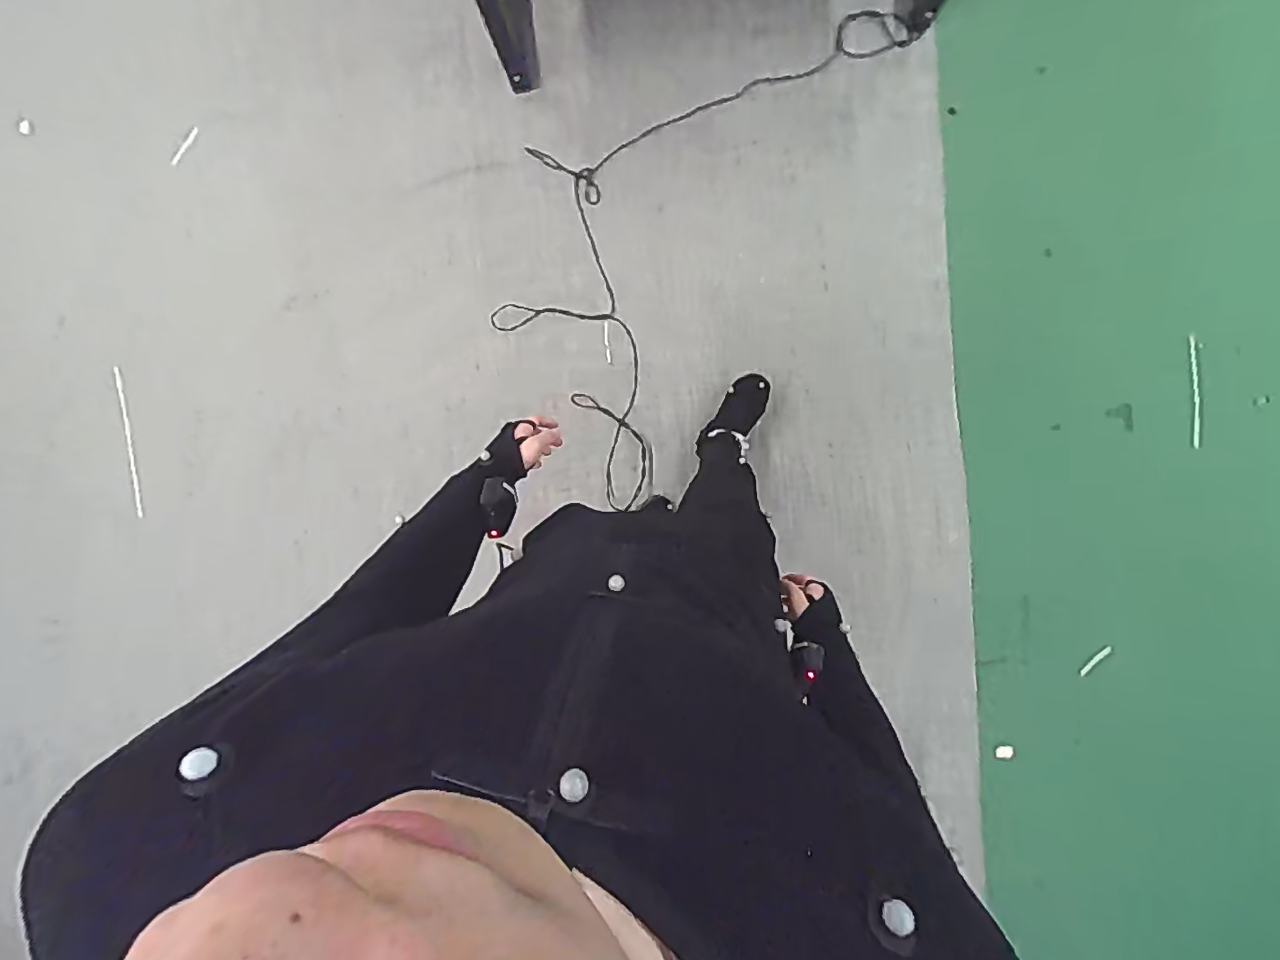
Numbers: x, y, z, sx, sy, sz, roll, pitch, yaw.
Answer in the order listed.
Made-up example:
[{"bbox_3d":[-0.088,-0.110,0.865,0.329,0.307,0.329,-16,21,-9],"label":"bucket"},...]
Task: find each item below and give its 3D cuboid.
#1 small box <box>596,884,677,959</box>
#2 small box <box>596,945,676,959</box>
[{"bbox_3d":[-0.005,1.026,1.171,0.168,0.176,0.179,0,94,1],"label":"small box"},{"bbox_3d":[-0.010,1.029,1.009,0.168,0.176,0.179,0,92,2],"label":"small box"}]
